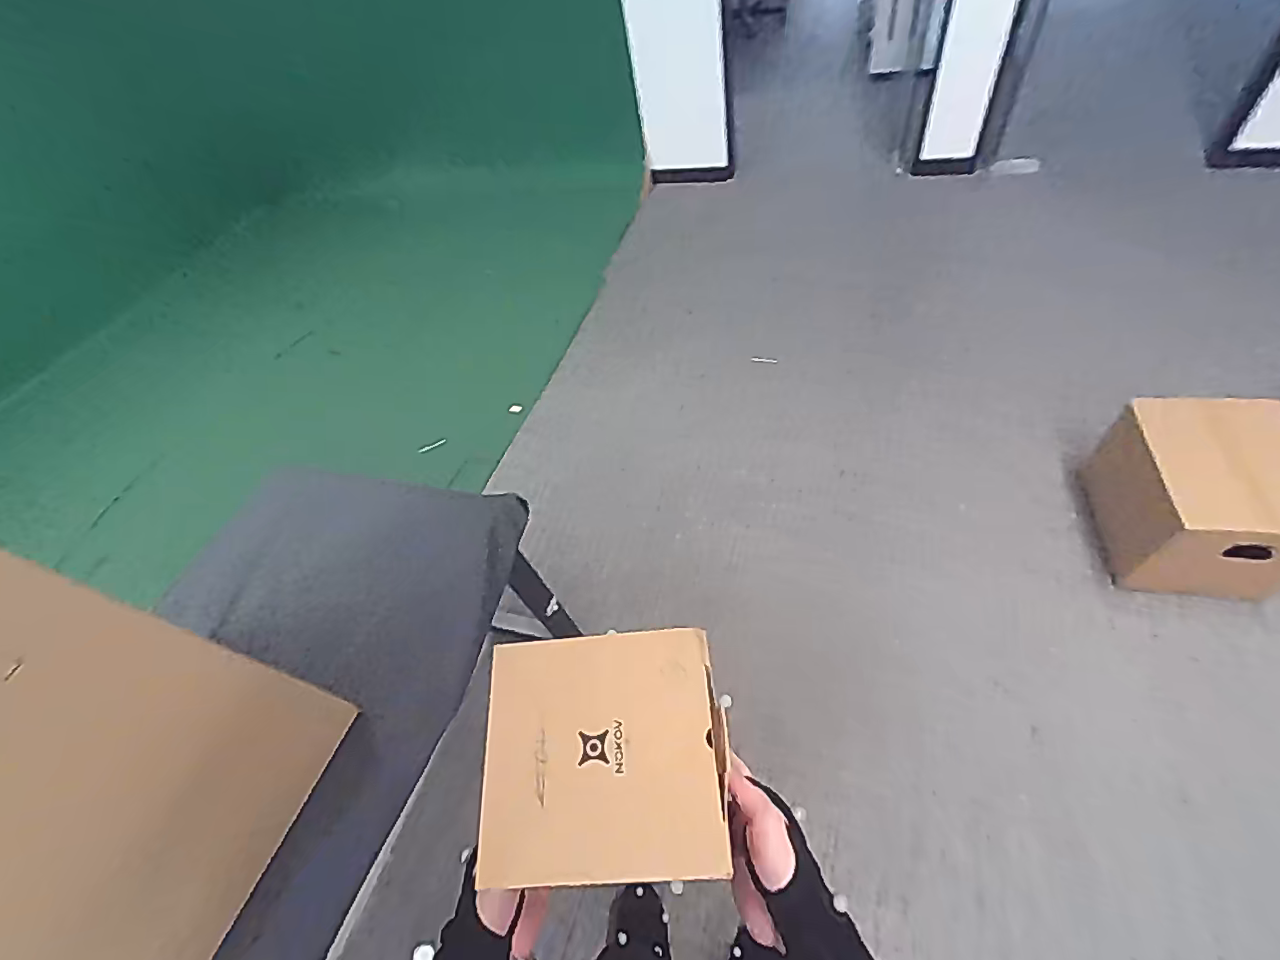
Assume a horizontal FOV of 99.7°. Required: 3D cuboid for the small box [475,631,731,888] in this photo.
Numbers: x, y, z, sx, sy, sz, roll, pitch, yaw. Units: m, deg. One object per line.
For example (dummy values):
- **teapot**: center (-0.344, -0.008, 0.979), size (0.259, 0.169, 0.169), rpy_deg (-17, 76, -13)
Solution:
- **small box**: center (-0.020, 0.239, 0.468), size (0.179, 0.176, 0.168), rpy_deg (-6, 58, 5)
